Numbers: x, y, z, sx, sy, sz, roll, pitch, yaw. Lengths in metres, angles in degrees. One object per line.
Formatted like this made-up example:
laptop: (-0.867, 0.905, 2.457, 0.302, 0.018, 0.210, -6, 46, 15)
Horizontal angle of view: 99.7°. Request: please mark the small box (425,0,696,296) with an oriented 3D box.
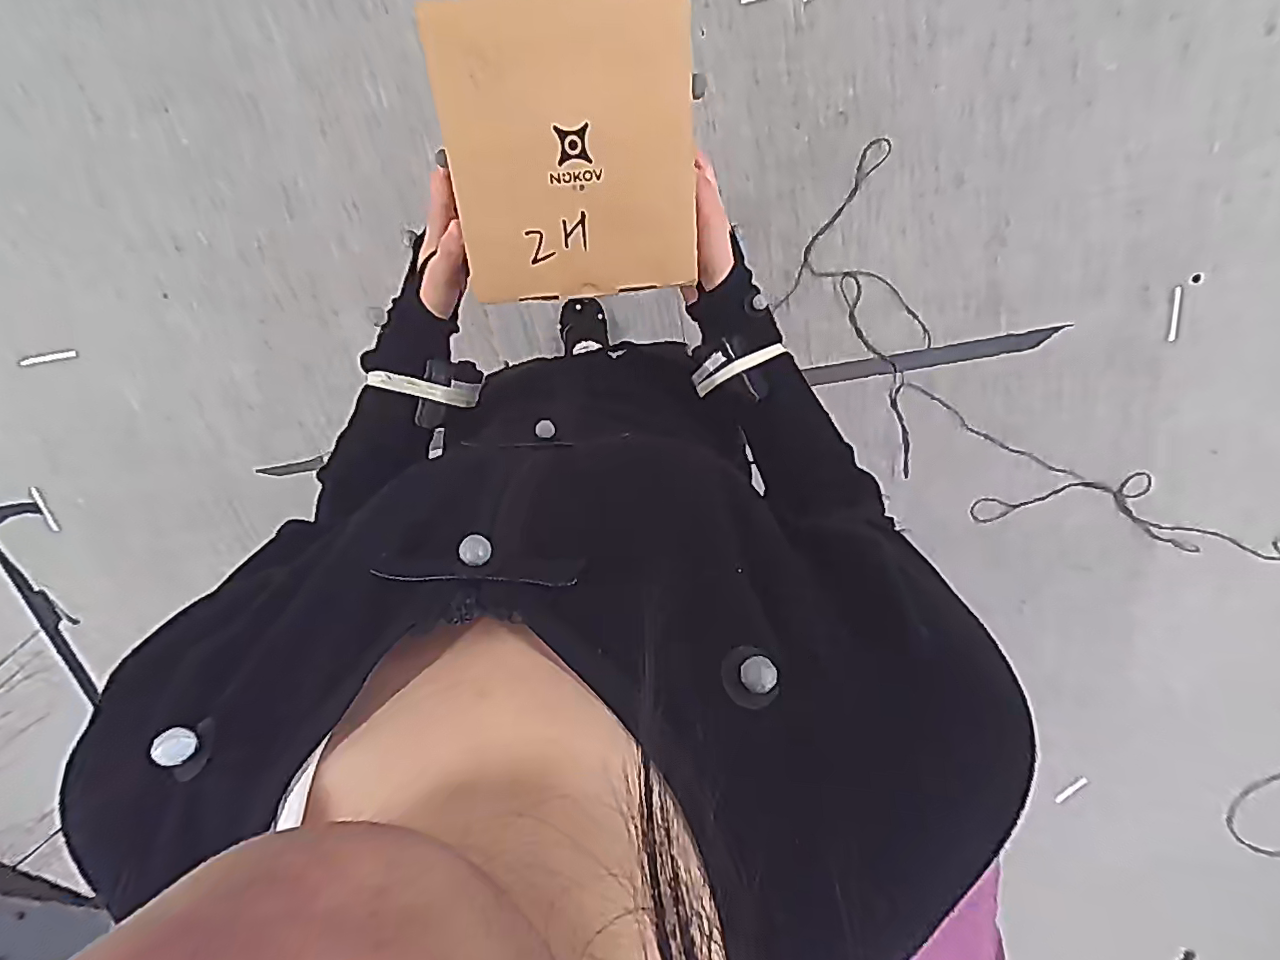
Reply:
small box: (-0.052, -0.253, 0.435, 0.168, 0.176, 0.179, -6, 116, -3)
